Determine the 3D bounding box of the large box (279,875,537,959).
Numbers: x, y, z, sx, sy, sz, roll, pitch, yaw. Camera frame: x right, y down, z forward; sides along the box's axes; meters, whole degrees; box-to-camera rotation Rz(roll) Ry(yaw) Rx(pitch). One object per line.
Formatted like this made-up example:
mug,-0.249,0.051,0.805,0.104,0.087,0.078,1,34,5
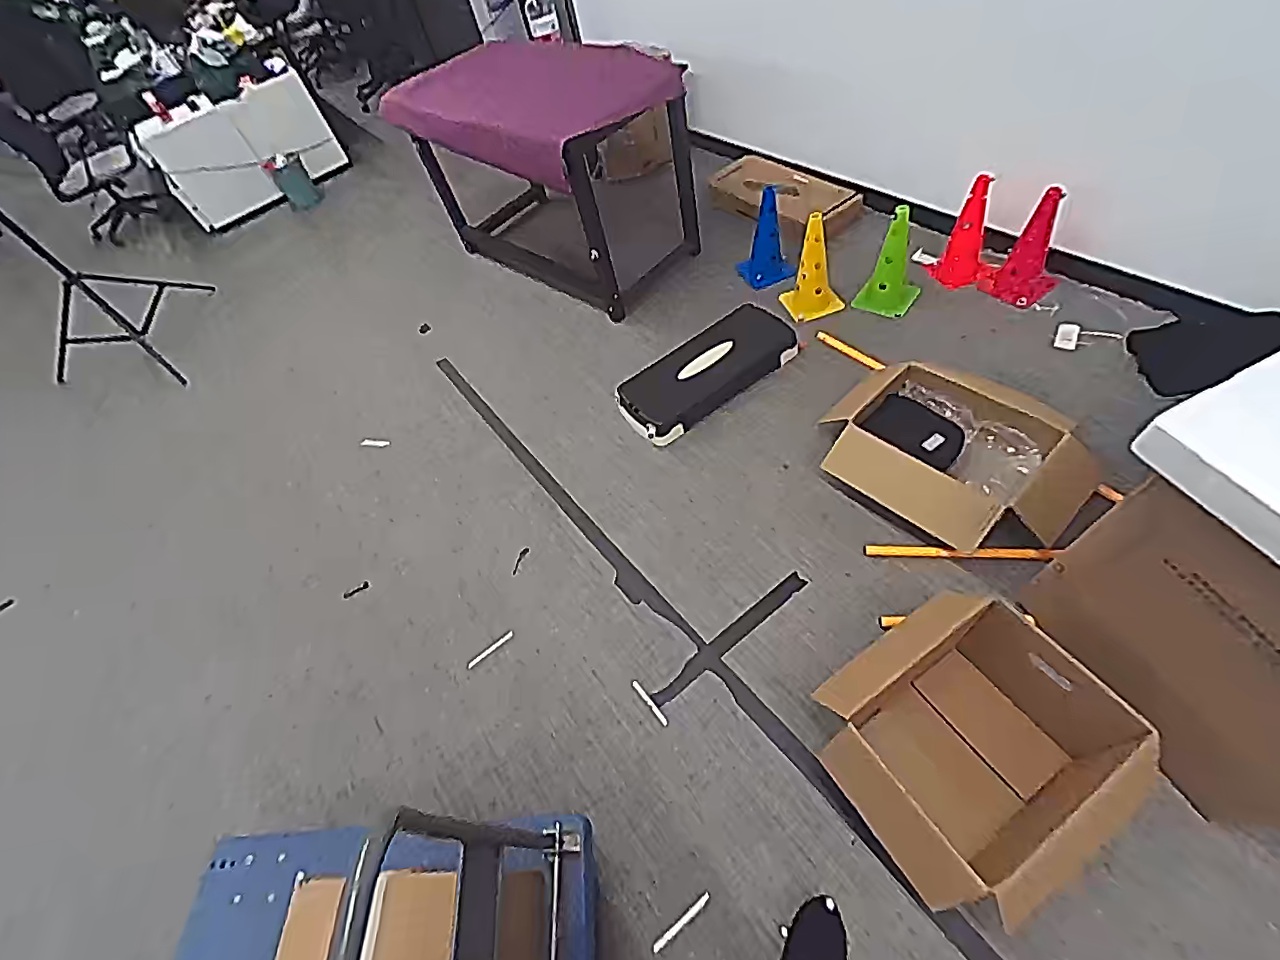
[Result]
large box,-0.368,0.886,0.855,0.320,0.320,0.408,-8,52,7
